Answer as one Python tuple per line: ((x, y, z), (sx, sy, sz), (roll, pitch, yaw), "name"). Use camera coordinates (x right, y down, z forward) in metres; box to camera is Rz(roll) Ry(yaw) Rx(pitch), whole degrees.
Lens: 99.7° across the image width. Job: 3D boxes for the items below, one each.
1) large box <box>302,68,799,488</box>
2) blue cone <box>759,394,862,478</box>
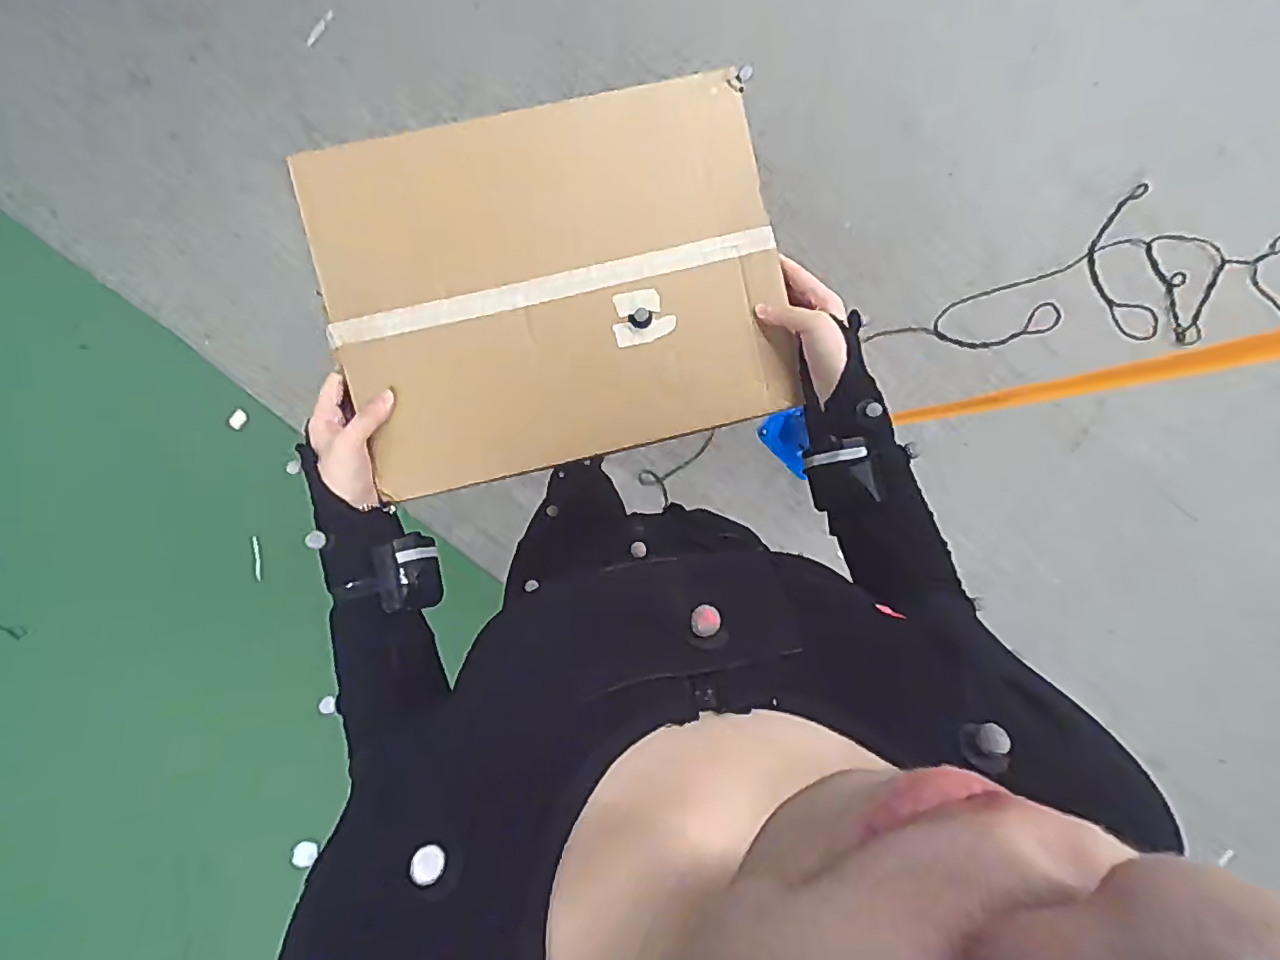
((-0.086, -0.193, 0.644), (0.408, 0.320, 0.320), (-14, 94, -4), "large box")
((0.455, -0.115, 1.328), (0.192, 0.380, 0.193), (-43, 93, 1), "blue cone")
